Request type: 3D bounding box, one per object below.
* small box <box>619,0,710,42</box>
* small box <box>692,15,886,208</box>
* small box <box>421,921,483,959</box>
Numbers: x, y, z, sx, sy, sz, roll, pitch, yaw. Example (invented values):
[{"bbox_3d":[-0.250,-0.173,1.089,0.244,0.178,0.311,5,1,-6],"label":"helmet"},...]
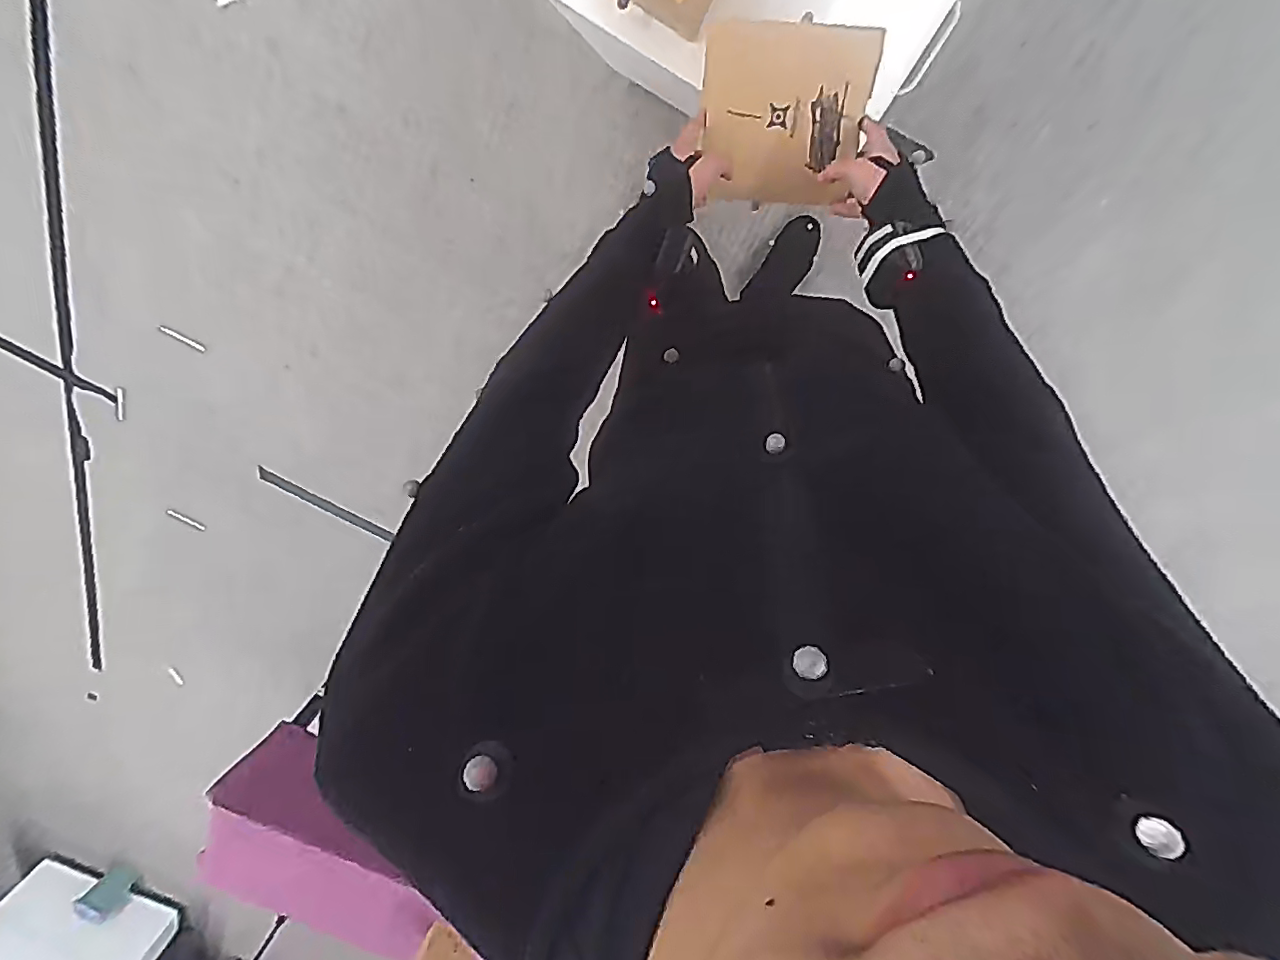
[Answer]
[{"bbox_3d":[0.029,-0.680,0.643,0.168,0.176,0.179,30,118,-5],"label":"small box"},{"bbox_3d":[0.161,-0.435,0.655,0.179,0.176,0.168,5,121,0],"label":"small box"},{"bbox_3d":[-0.655,1.643,1.823,0.168,0.176,0.179,27,118,-4],"label":"small box"}]
